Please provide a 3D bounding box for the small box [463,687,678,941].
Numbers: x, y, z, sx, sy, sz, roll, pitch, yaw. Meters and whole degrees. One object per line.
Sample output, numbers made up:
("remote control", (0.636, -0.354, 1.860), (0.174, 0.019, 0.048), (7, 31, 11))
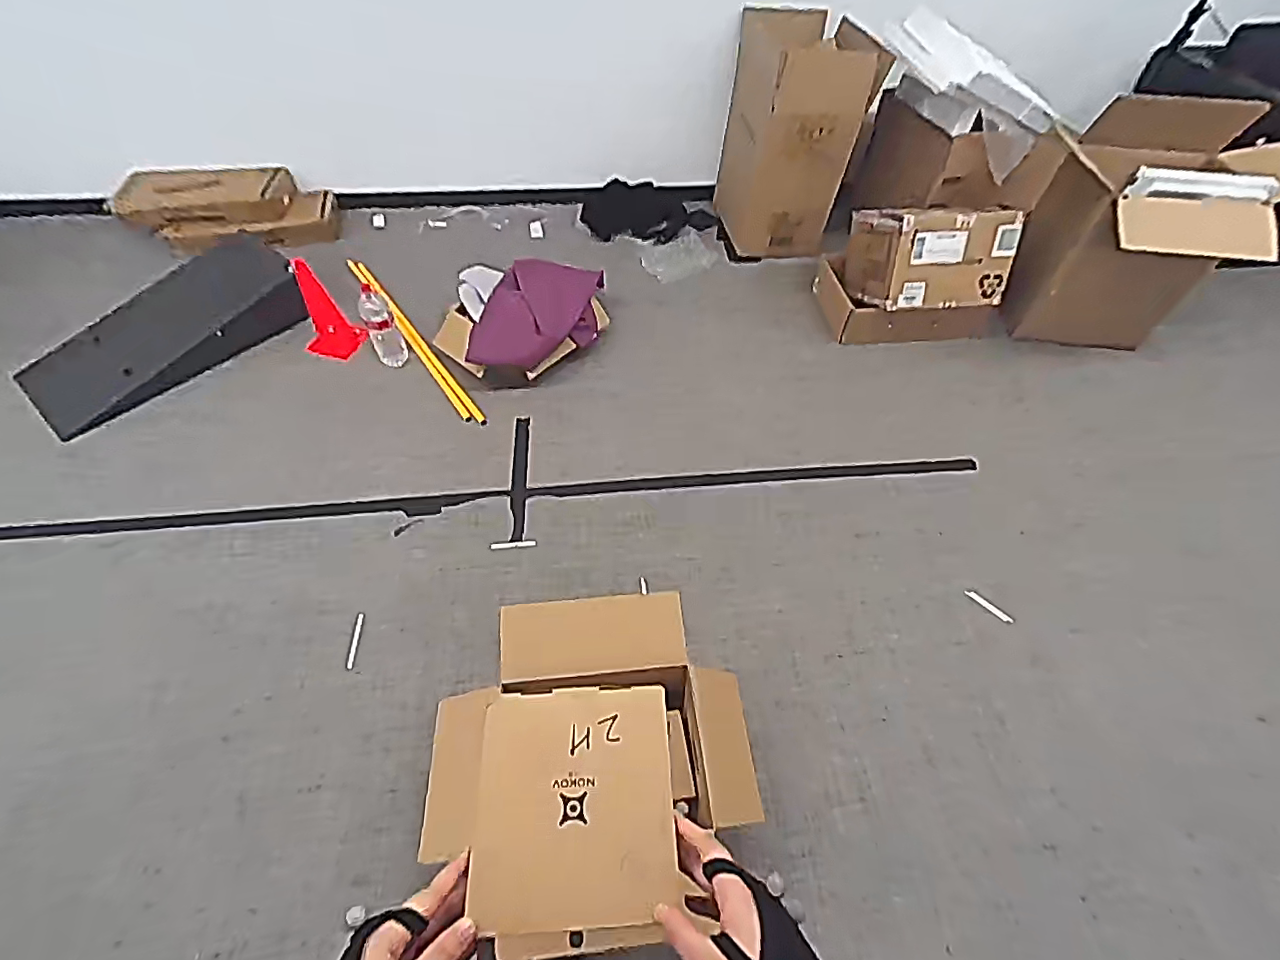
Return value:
("small box", (-0.054, 0.313, 0.514), (0.168, 0.176, 0.179), (-2, 53, -2))
